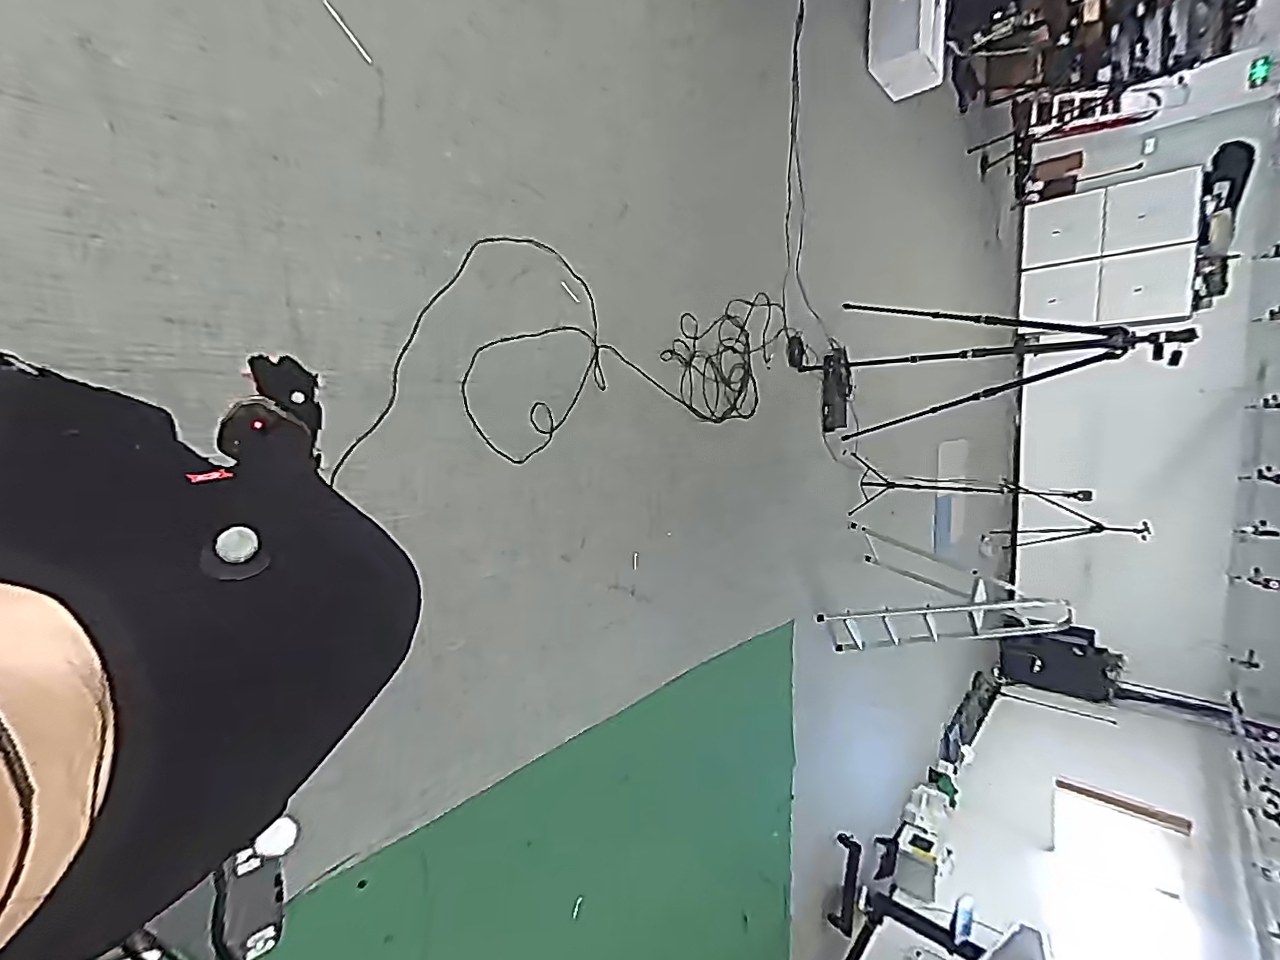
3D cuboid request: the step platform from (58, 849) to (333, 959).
[{"bbox_3d":[-0.917,0.956,0.897,0.684,0.204,0.286,-9,99,-48],"label":"step platform"}]
